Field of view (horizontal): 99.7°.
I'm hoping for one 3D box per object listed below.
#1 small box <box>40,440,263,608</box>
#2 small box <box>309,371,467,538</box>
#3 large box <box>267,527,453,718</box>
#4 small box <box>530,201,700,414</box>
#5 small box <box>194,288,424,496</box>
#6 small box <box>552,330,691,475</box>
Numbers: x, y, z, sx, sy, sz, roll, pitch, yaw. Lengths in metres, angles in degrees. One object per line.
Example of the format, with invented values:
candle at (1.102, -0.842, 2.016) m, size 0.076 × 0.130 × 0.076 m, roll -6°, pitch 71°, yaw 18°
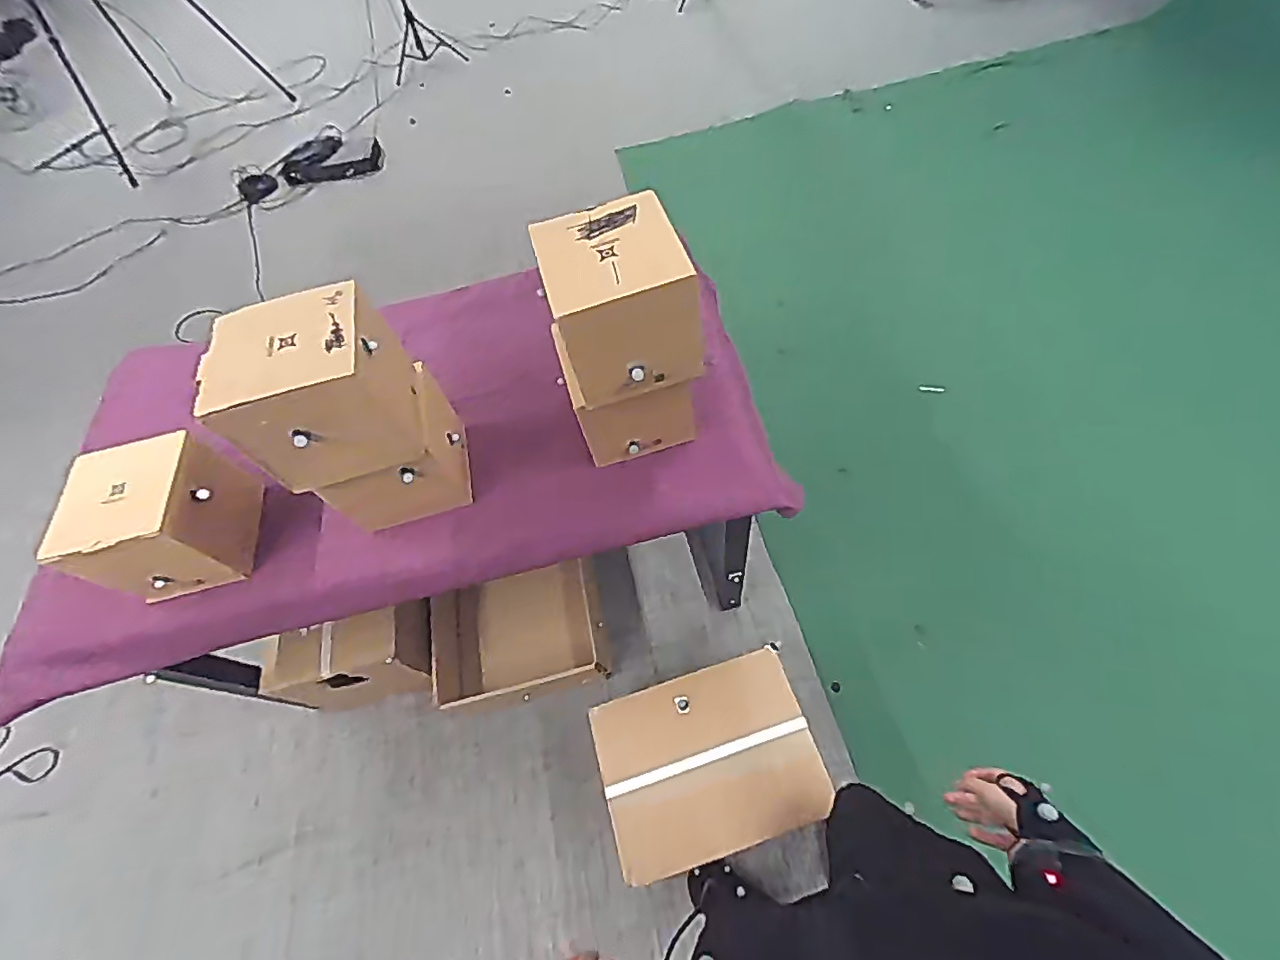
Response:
small box at (-0.713, 0.070, 0.818) m, size 0.168 × 0.176 × 0.179 m, roll -14°, pitch 58°, yaw -1°
small box at (-0.377, -0.034, 0.830) m, size 0.179 × 0.176 × 0.168 m, roll -16°, pitch 57°, yaw -1°
large box at (-0.708, 0.363, 1.419) m, size 0.320 × 0.320 × 0.408 m, roll -15°, pitch 60°, yaw -1°
small box at (-0.028, -0.216, 0.697) m, size 0.168 × 0.176 × 0.179 m, roll -18°, pitch 58°, yaw -1°
small box at (-0.397, -0.102, 0.681) m, size 0.179 × 0.176 × 0.168 m, roll -17°, pitch 58°, yaw -2°
small box at (-0.025, -0.137, 0.842) m, size 0.168 × 0.176 × 0.179 m, roll -18°, pitch 58°, yaw -1°
